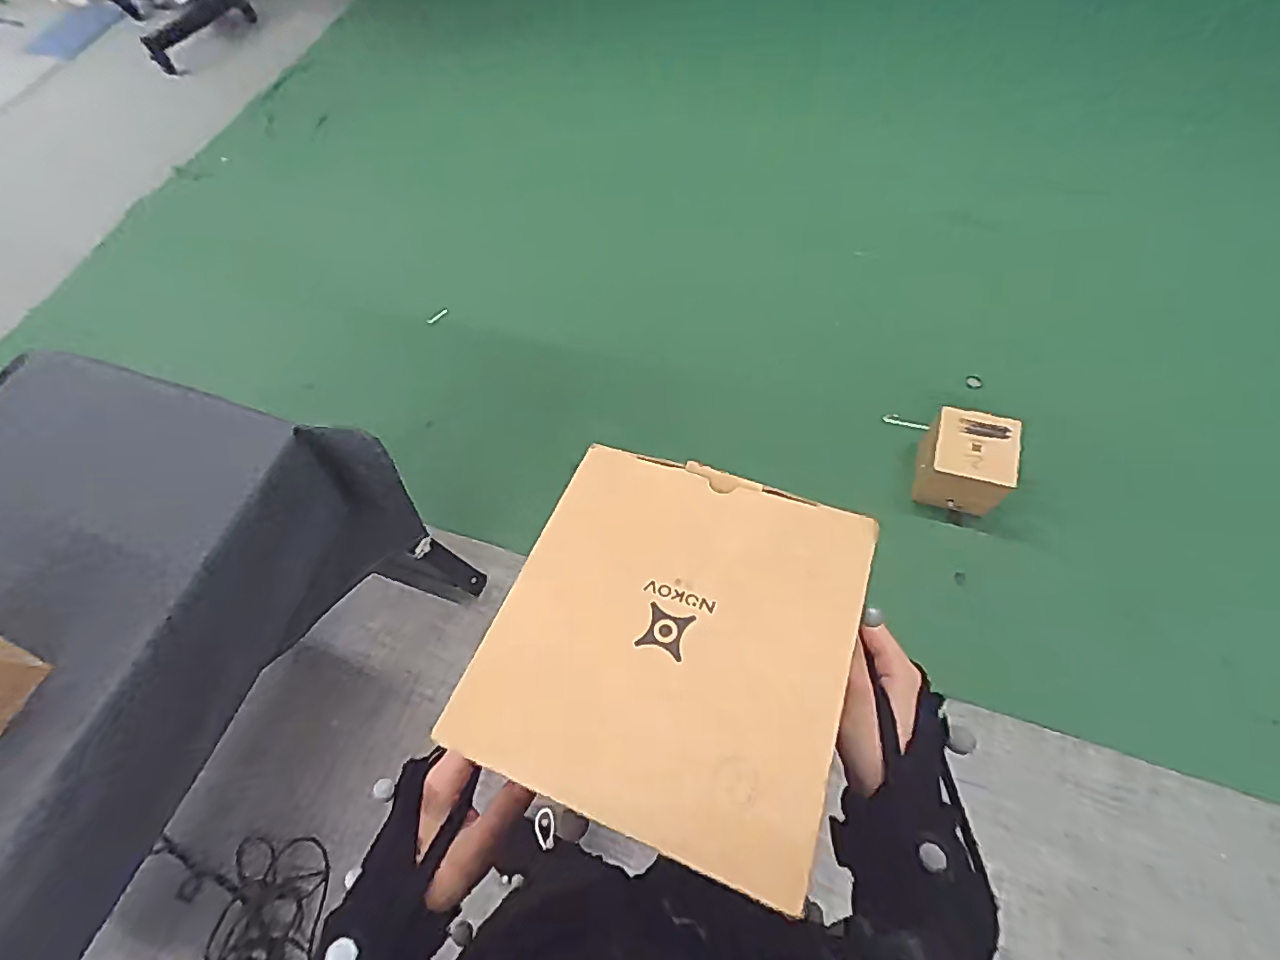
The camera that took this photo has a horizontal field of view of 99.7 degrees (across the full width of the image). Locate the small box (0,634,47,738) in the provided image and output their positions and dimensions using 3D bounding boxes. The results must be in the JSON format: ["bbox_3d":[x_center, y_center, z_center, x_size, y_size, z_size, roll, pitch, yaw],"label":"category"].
[{"bbox_3d":[-0.808,0.232,0.558,0.179,0.176,0.168,16,69,16],"label":"small box"}]

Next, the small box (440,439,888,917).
[{"bbox_3d":[0.027,0.108,0.317,0.168,0.176,0.179,16,59,17],"label":"small box"}]
